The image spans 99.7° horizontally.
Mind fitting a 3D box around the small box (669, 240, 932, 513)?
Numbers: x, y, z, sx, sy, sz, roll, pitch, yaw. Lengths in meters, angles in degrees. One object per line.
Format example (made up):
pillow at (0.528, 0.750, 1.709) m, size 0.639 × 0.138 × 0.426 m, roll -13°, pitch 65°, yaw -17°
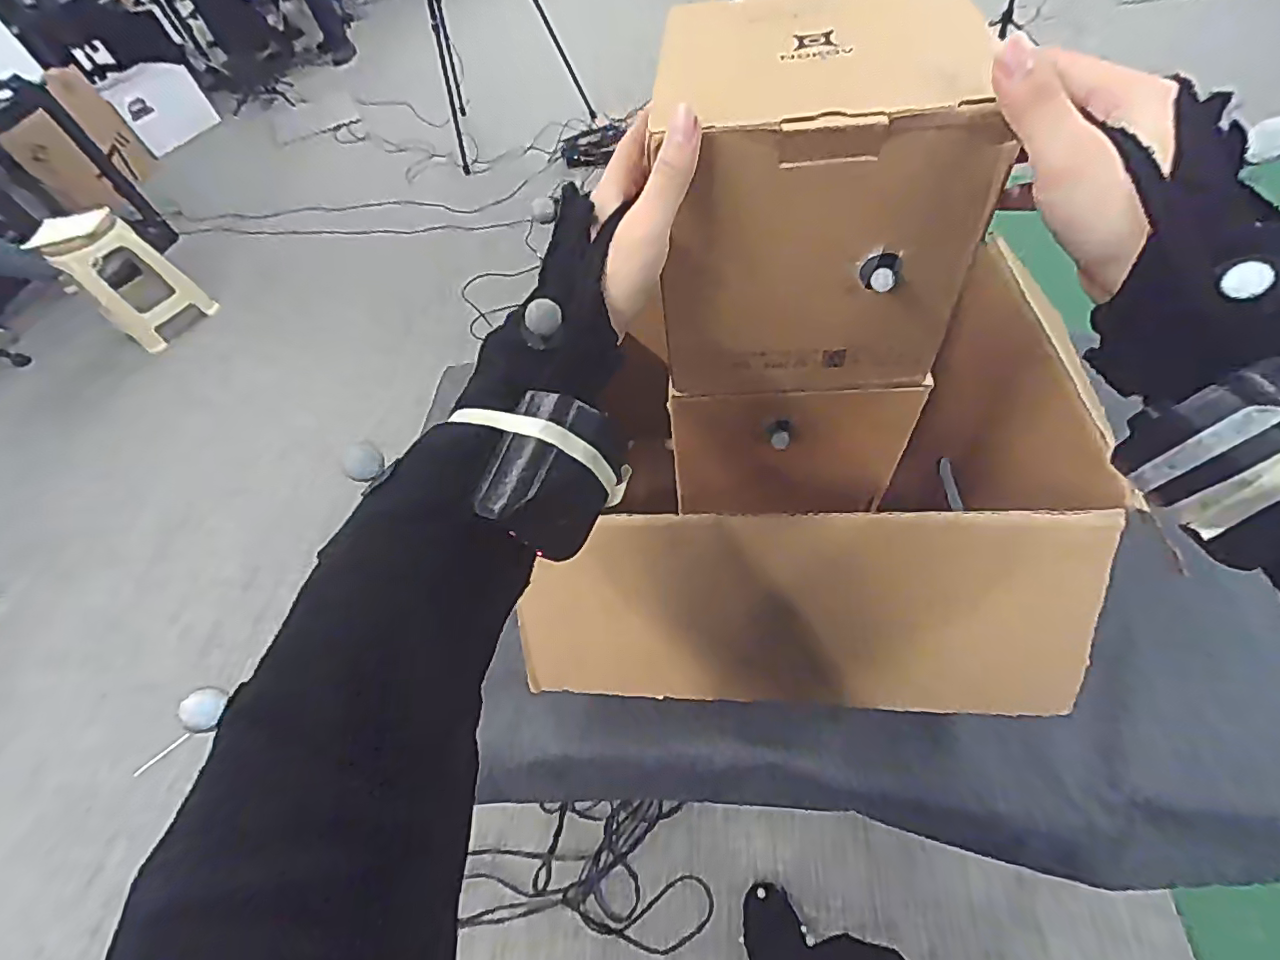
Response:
small box at (0.120, -0.082, 0.473) m, size 0.179 × 0.176 × 0.168 m, roll -1°, pitch 55°, yaw 8°
